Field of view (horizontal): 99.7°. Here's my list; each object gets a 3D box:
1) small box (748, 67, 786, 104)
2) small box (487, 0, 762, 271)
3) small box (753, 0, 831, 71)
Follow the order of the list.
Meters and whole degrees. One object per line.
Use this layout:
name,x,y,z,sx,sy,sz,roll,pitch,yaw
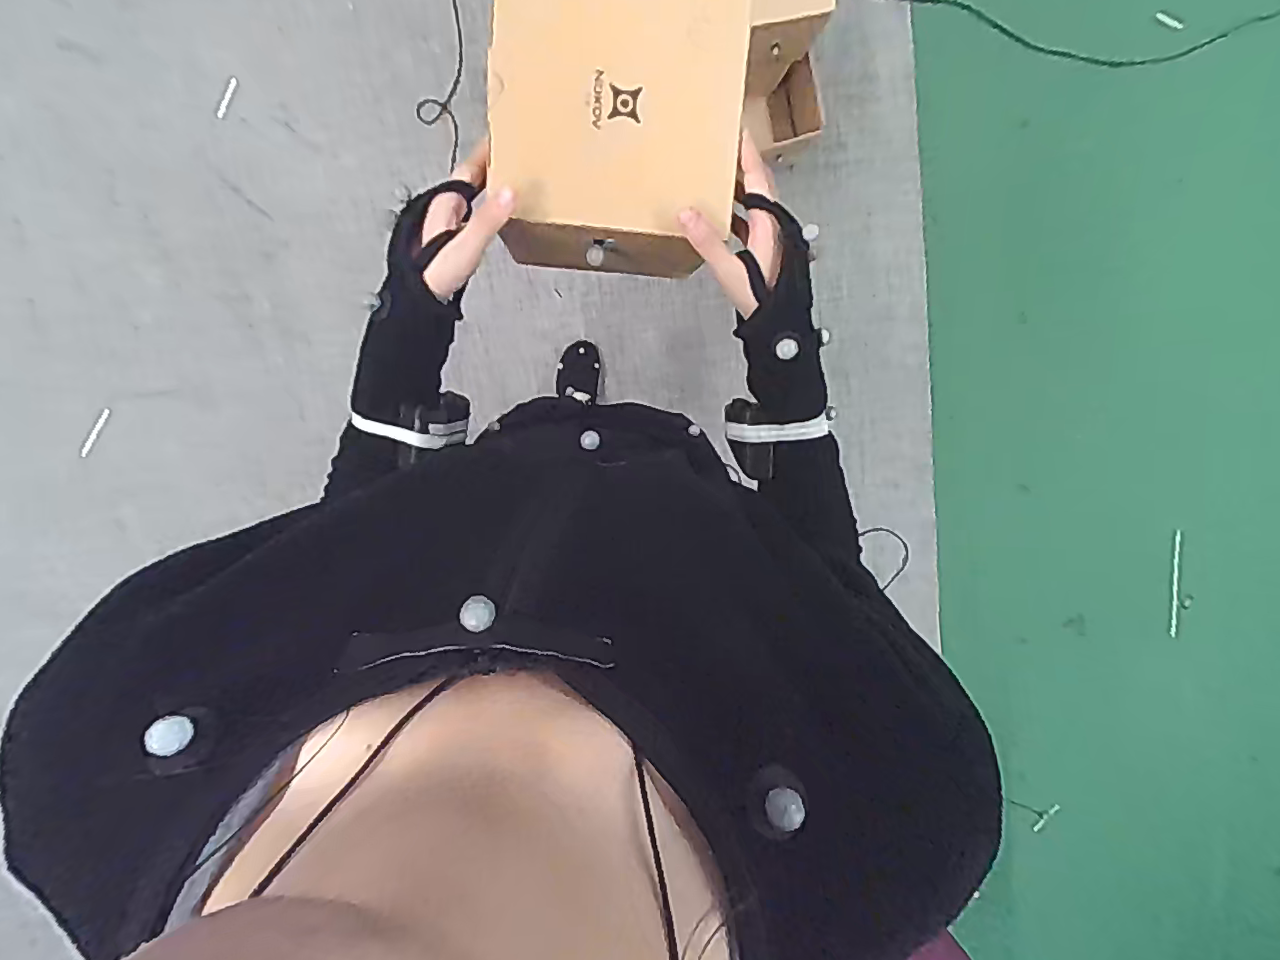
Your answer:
small box,0.216,-0.960,1.209,0.179,0.176,0.168,-13,103,-2
small box,-0.019,-0.276,0.441,0.179,0.176,0.168,4,101,-6
small box,0.248,-0.928,1.049,0.168,0.176,0.179,-13,102,-4
